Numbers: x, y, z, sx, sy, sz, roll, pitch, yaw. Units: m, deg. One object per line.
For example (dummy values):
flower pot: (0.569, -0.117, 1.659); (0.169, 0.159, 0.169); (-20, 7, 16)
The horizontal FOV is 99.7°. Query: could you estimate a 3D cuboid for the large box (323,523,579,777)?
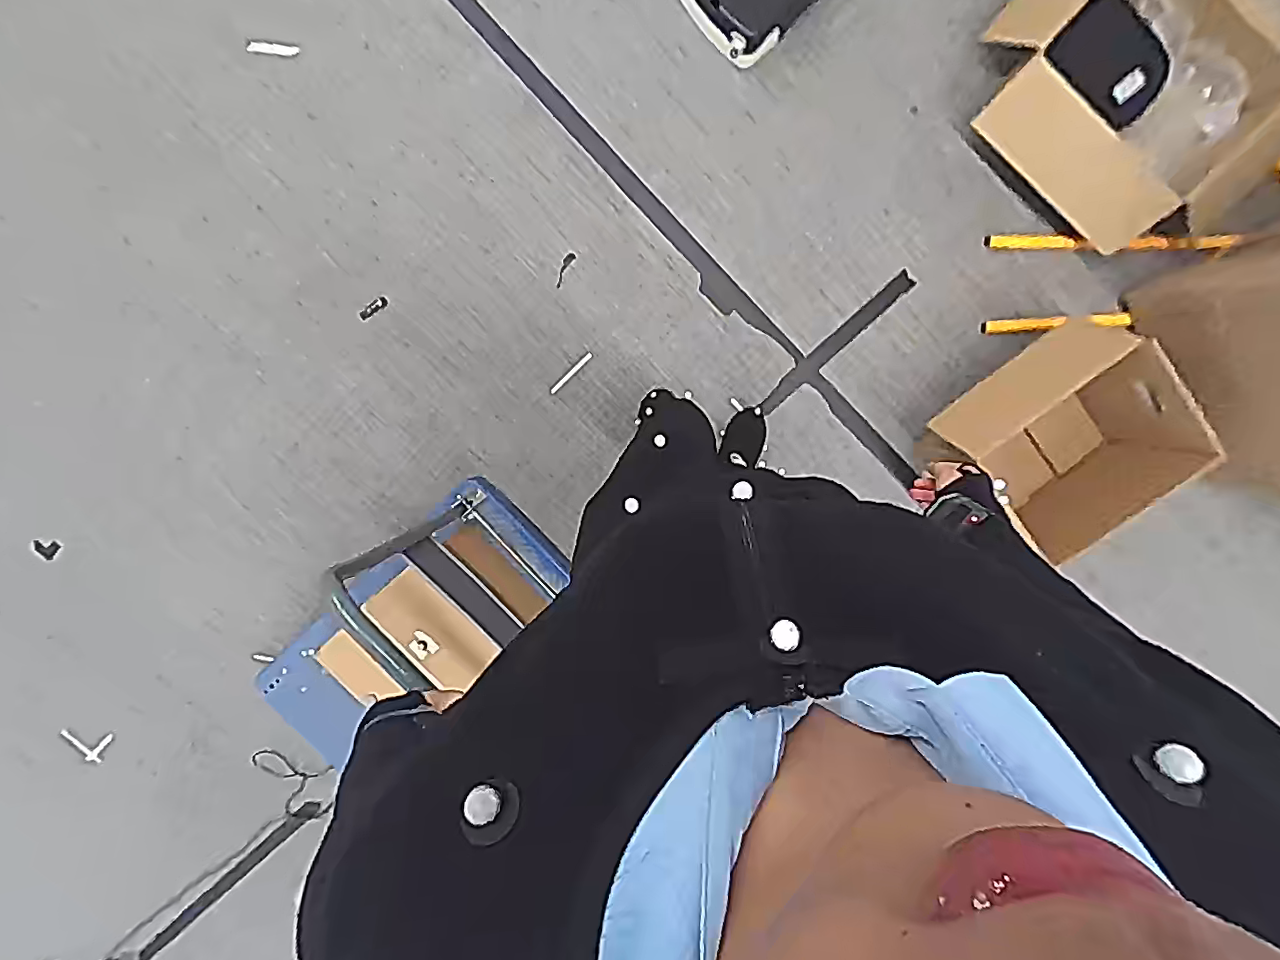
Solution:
large box: (-0.406, 0.372, 1.262); (0.320, 0.320, 0.408); (-41, 95, 8)
